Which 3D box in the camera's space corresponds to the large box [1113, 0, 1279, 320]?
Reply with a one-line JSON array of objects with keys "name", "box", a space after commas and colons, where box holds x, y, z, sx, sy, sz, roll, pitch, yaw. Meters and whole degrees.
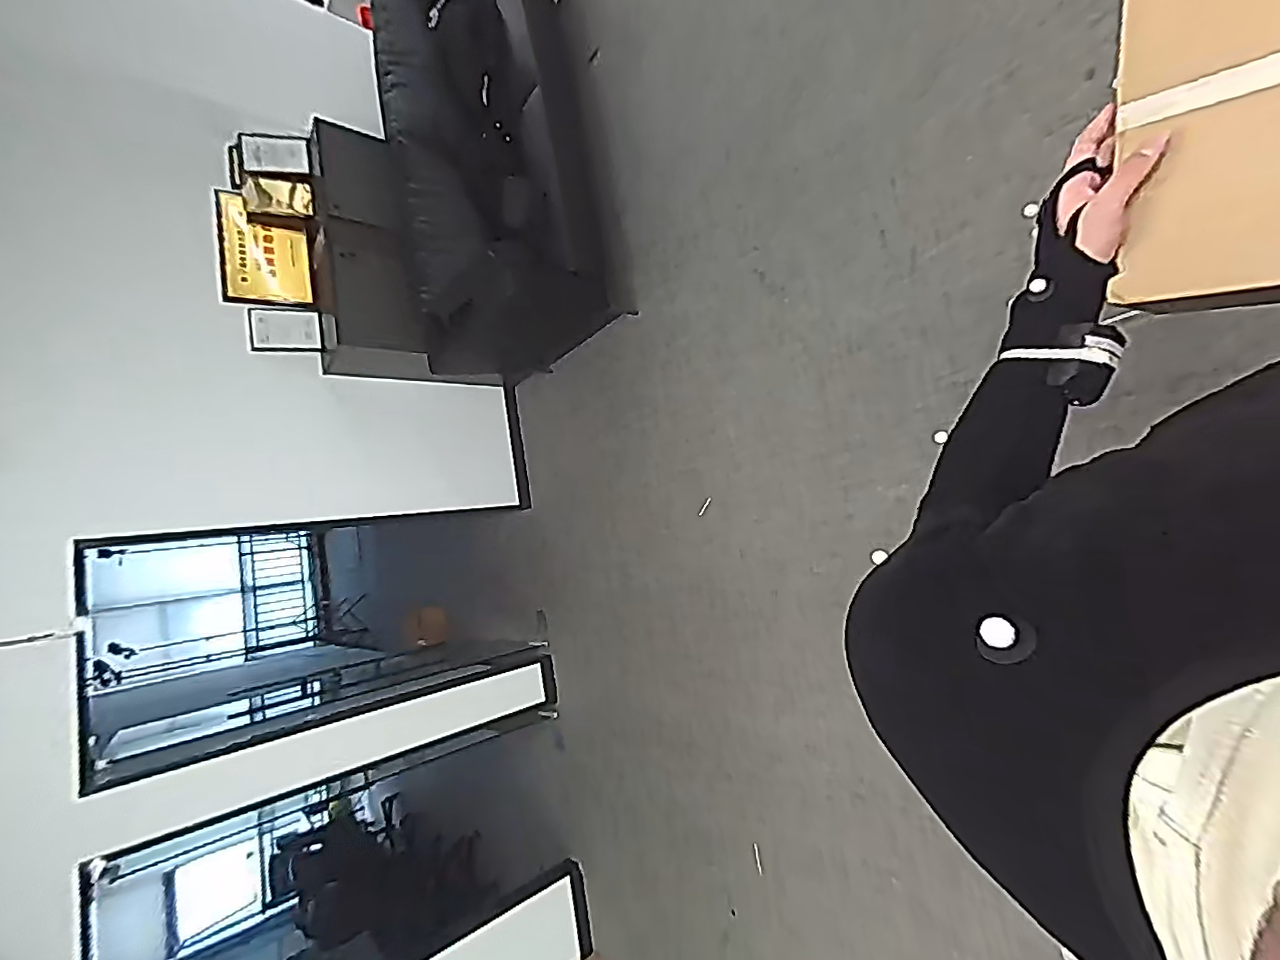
[{"name": "large box", "box": [0.669, -0.324, 0.435, 0.408, 0.320, 0.320, 5, 104, 48]}]
